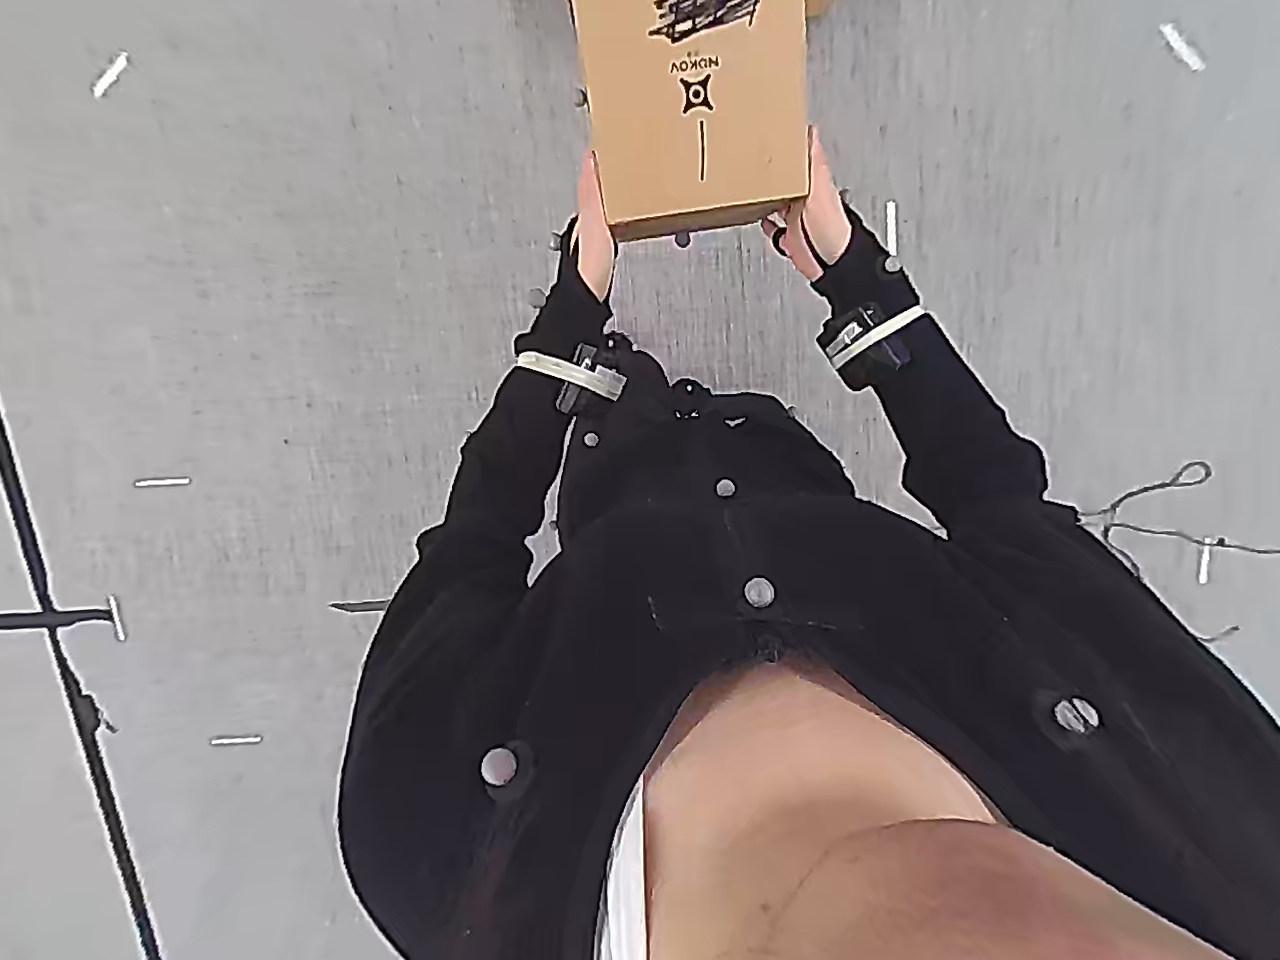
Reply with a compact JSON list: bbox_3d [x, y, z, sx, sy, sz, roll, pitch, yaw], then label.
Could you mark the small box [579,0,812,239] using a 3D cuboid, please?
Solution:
[{"bbox_3d":[0.040,-0.323,0.473,0.168,0.176,0.179,-8,109,0],"label":"small box"}]
